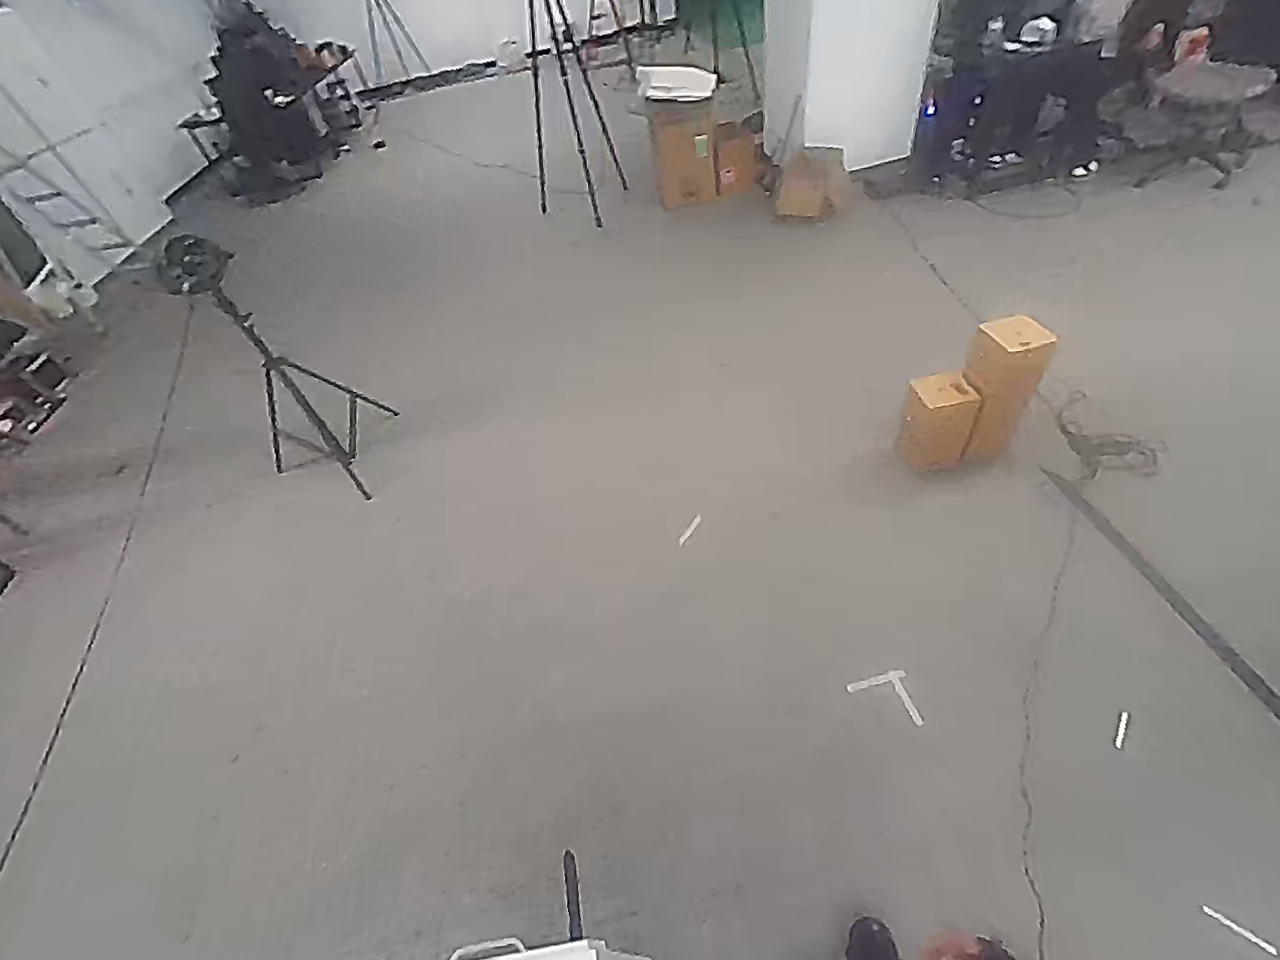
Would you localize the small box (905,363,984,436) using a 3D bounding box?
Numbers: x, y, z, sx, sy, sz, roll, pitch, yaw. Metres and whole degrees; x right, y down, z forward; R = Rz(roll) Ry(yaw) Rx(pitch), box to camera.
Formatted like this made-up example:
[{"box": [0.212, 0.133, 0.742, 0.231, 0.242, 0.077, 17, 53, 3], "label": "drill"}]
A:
[{"box": [1.058, -0.279, 1.896, 0.179, 0.176, 0.168, -12, 46, 5], "label": "small box"}]

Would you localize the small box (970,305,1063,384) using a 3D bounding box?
[{"box": [1.226, -0.444, 1.779, 0.168, 0.176, 0.179, -16, 45, 0], "label": "small box"}]
